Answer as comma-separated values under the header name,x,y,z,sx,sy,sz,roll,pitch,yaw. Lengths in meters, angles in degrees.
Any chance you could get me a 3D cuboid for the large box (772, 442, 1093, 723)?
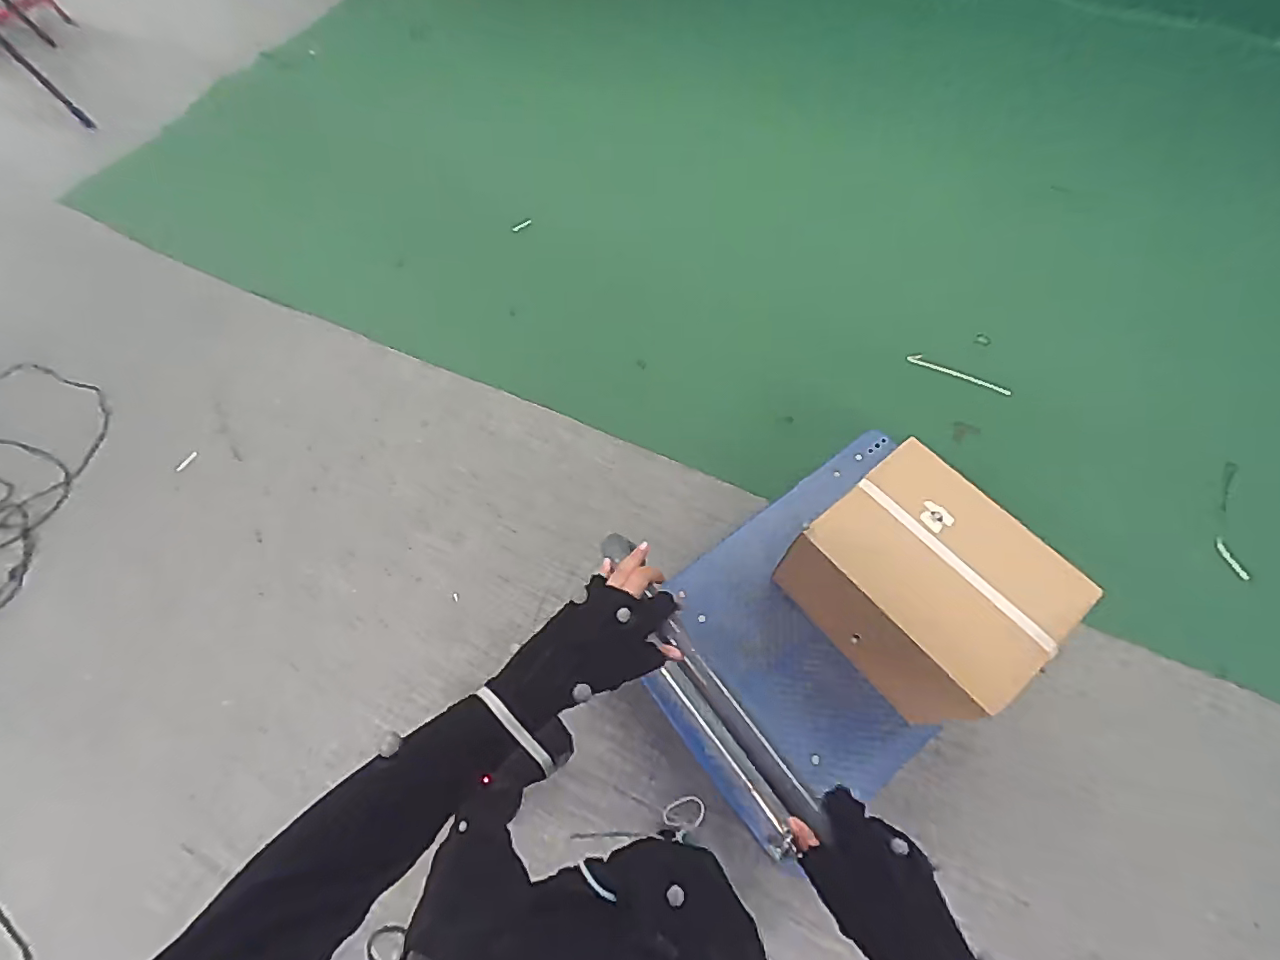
name,x,y,z,sx,sy,sz,roll,pitch,yaw
large box,0.531,0.211,1.076,0.320,0.320,0.408,-36,67,-15
